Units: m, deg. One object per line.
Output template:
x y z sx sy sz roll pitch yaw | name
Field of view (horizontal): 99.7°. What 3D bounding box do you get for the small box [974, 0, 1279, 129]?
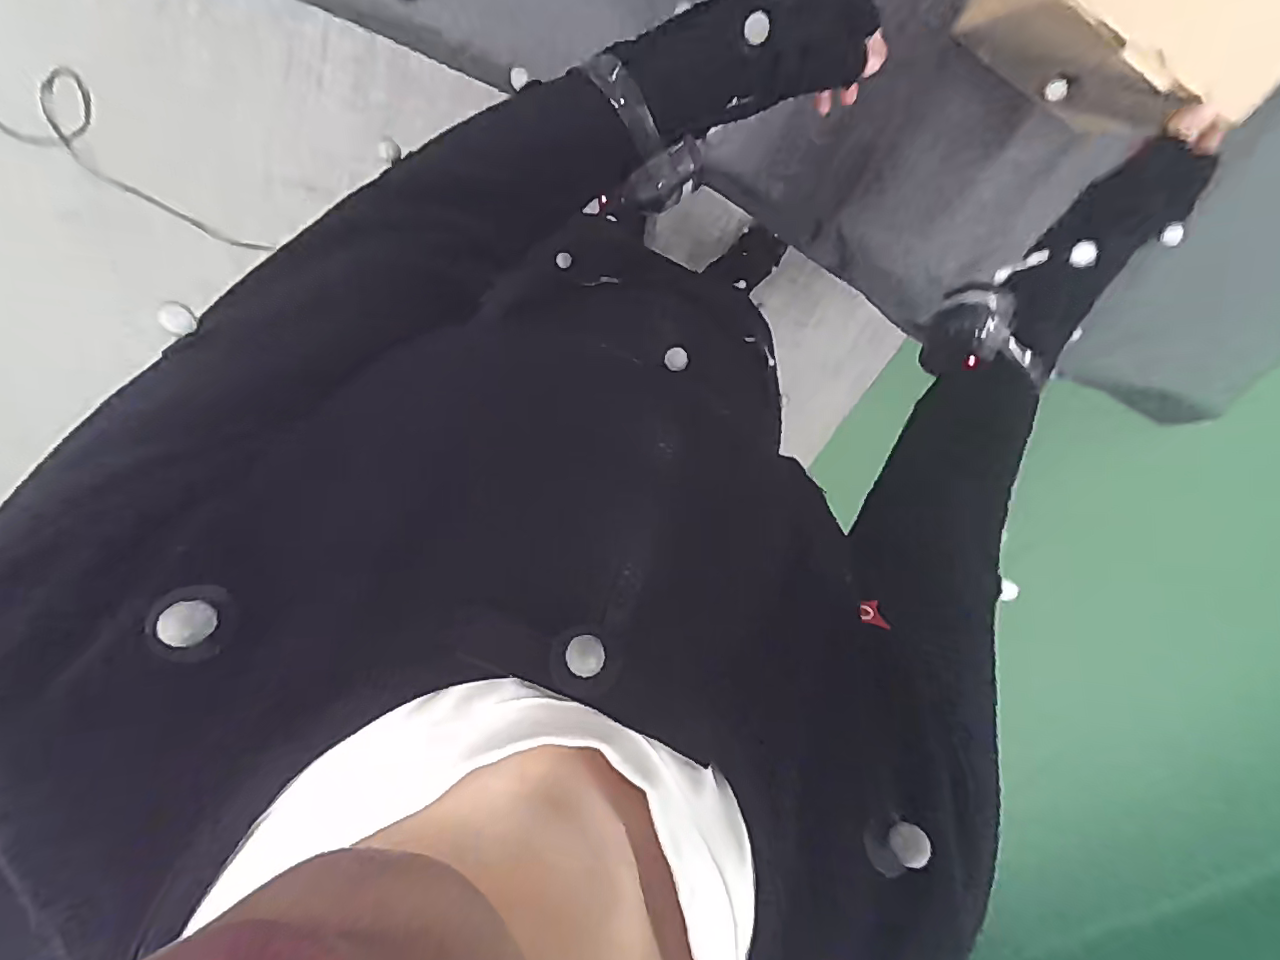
0.385 -0.390 0.393 0.168 0.176 0.179 24 121 -13 | small box
